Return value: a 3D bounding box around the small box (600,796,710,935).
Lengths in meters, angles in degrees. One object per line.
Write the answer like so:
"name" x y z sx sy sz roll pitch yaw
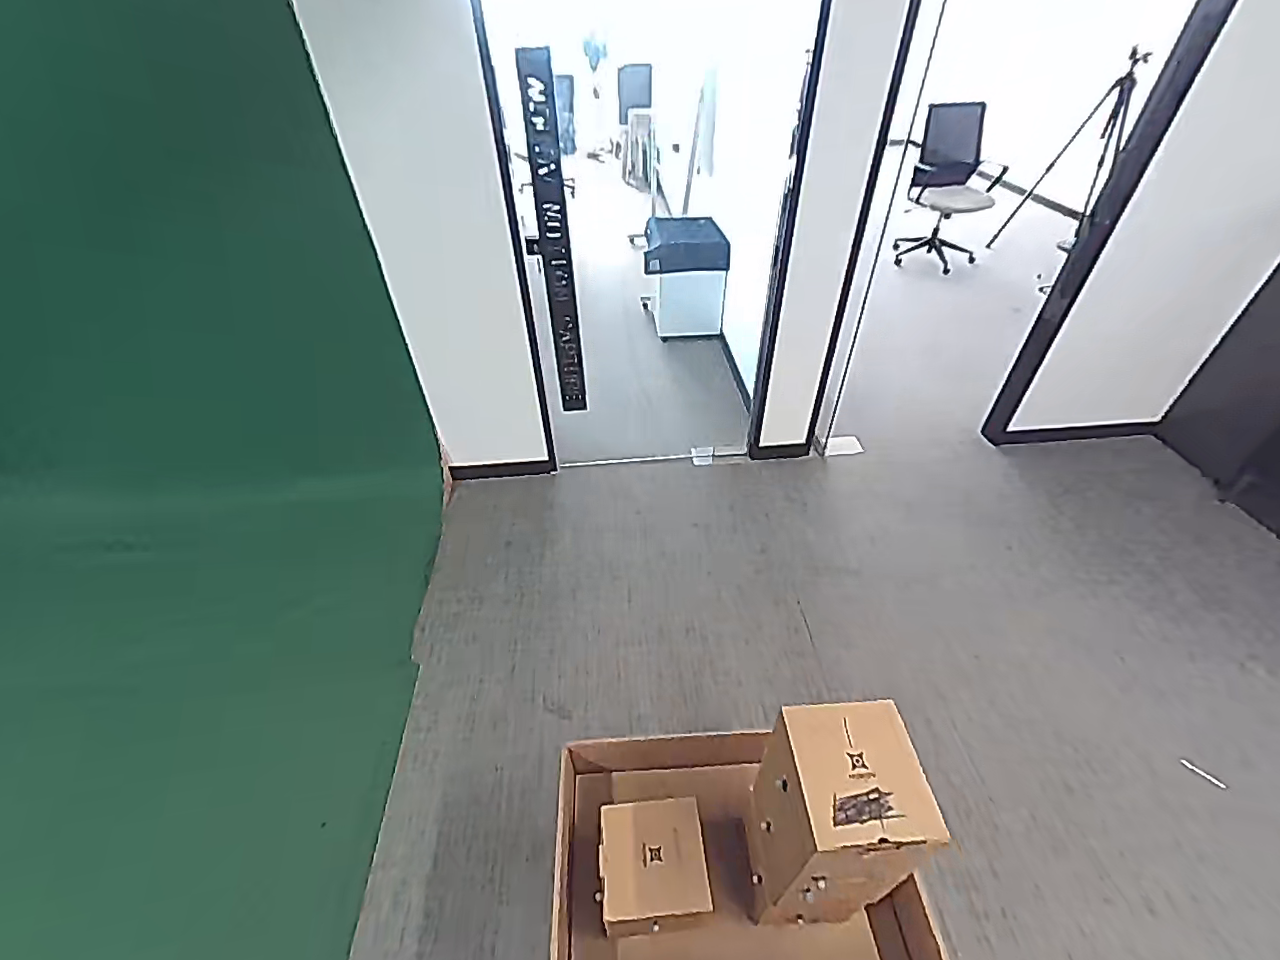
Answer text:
"small box" 0.021 0.688 0.963 0.179 0.176 0.168 -2 42 -4

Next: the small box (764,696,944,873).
"small box" 0.281 0.428 0.757 0.168 0.176 0.179 -2 41 -2
